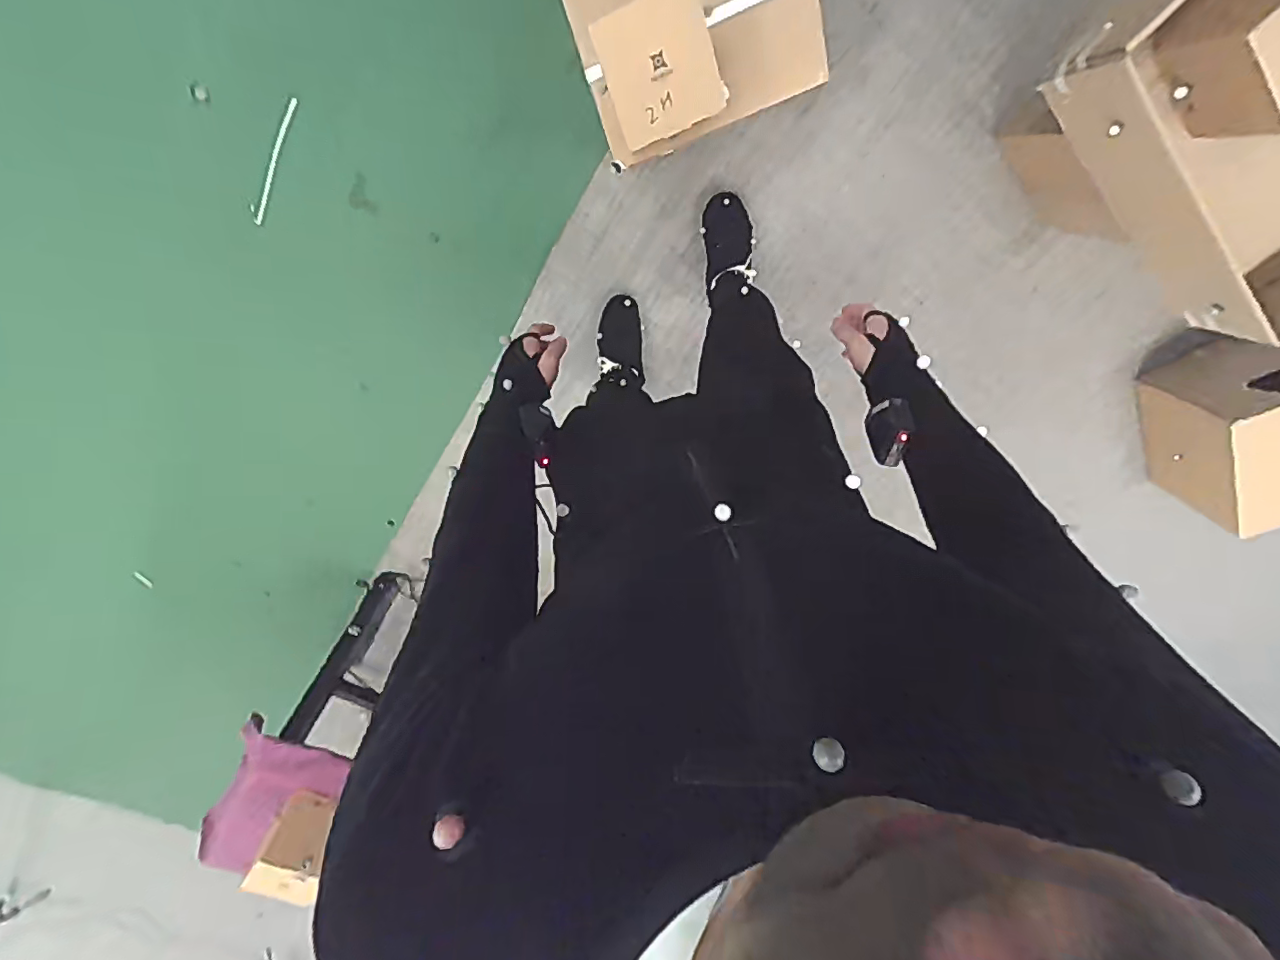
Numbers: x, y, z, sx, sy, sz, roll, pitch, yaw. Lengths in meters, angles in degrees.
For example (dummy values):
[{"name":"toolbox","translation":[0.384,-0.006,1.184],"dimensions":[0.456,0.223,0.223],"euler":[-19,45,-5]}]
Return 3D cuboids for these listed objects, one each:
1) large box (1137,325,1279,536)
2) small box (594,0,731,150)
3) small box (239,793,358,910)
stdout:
[{"name":"large box","translation":[1.636,-0.134,1.446],"dimensions":[0.320,0.320,0.408],"euler":[-28,115,16]},{"name":"small box","translation":[0.035,-0.656,0.873],"dimensions":[0.168,0.176,0.179],"euler":[-18,120,11]},{"name":"small box","translation":[-0.826,0.906,1.322],"dimensions":[0.168,0.176,0.179],"euler":[31,118,-18]}]
